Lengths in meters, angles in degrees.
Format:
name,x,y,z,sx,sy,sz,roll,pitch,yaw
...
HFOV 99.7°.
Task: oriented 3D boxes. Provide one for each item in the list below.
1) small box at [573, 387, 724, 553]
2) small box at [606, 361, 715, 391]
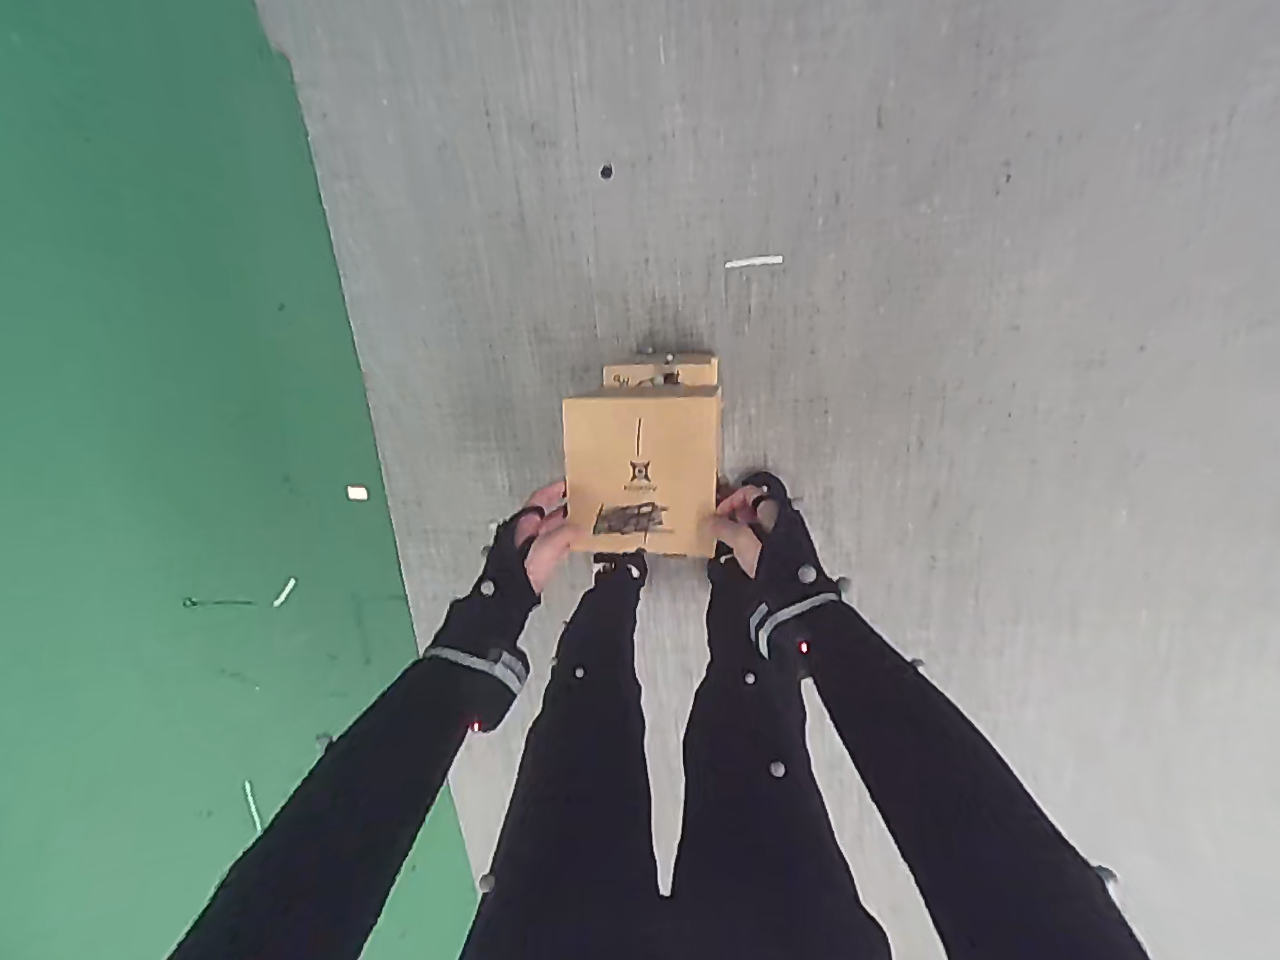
name,x,y,z,sx,sy,sz,roll,pitch,yaw
small box,0.020,-0.022,0.680,0.168,0.176,0.179,1,104,9
small box,0.040,-0.105,0.913,0.168,0.176,0.179,1,107,7
